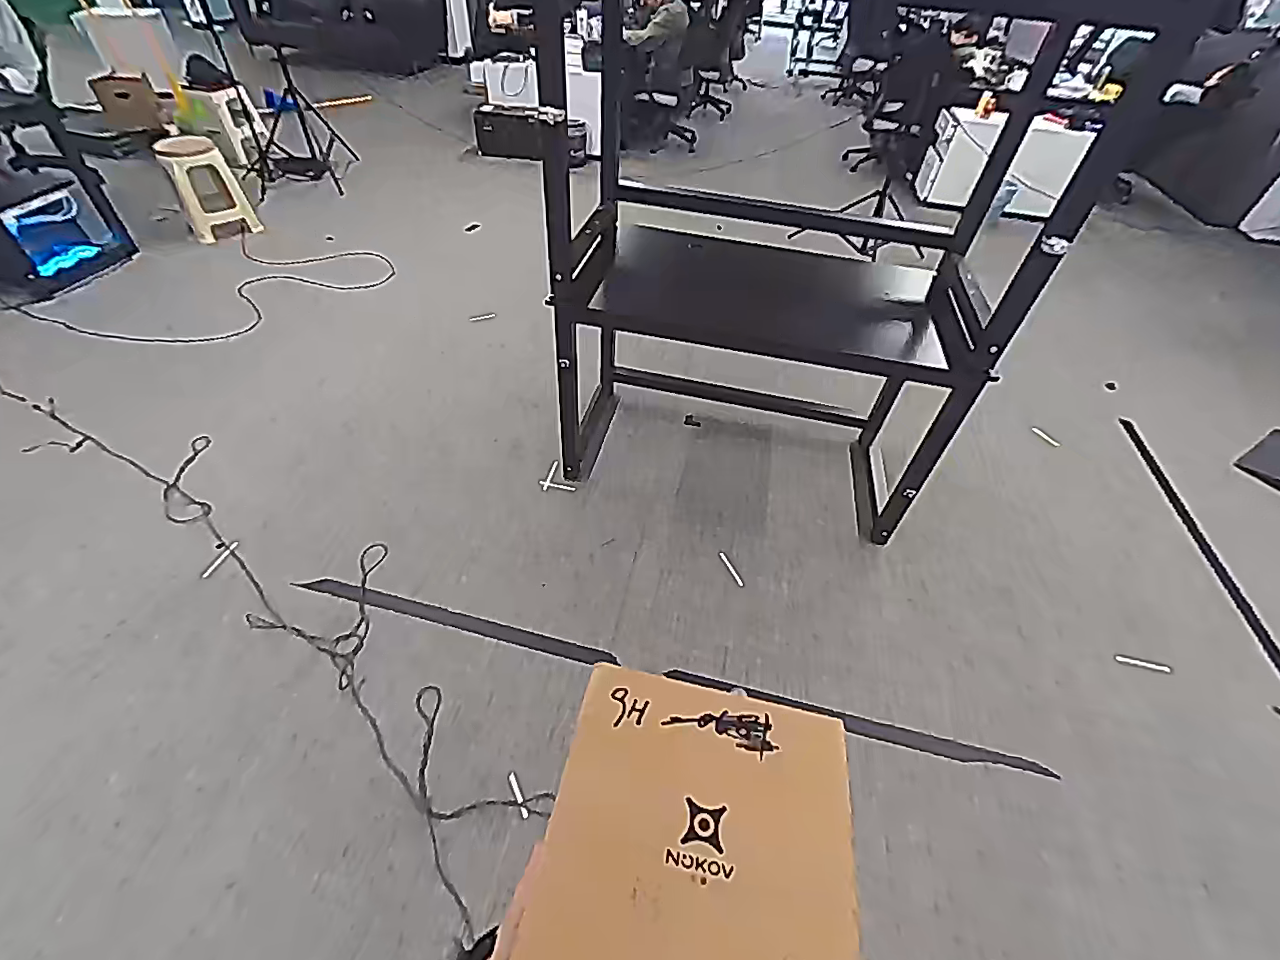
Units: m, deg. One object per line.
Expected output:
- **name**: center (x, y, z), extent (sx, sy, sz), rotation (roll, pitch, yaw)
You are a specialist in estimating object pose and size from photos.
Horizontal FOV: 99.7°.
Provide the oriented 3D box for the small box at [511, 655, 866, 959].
- **small box**: center (0.029, 0.245, 0.342), extent (0.168, 0.176, 0.179), rotation (12, 46, 4)
